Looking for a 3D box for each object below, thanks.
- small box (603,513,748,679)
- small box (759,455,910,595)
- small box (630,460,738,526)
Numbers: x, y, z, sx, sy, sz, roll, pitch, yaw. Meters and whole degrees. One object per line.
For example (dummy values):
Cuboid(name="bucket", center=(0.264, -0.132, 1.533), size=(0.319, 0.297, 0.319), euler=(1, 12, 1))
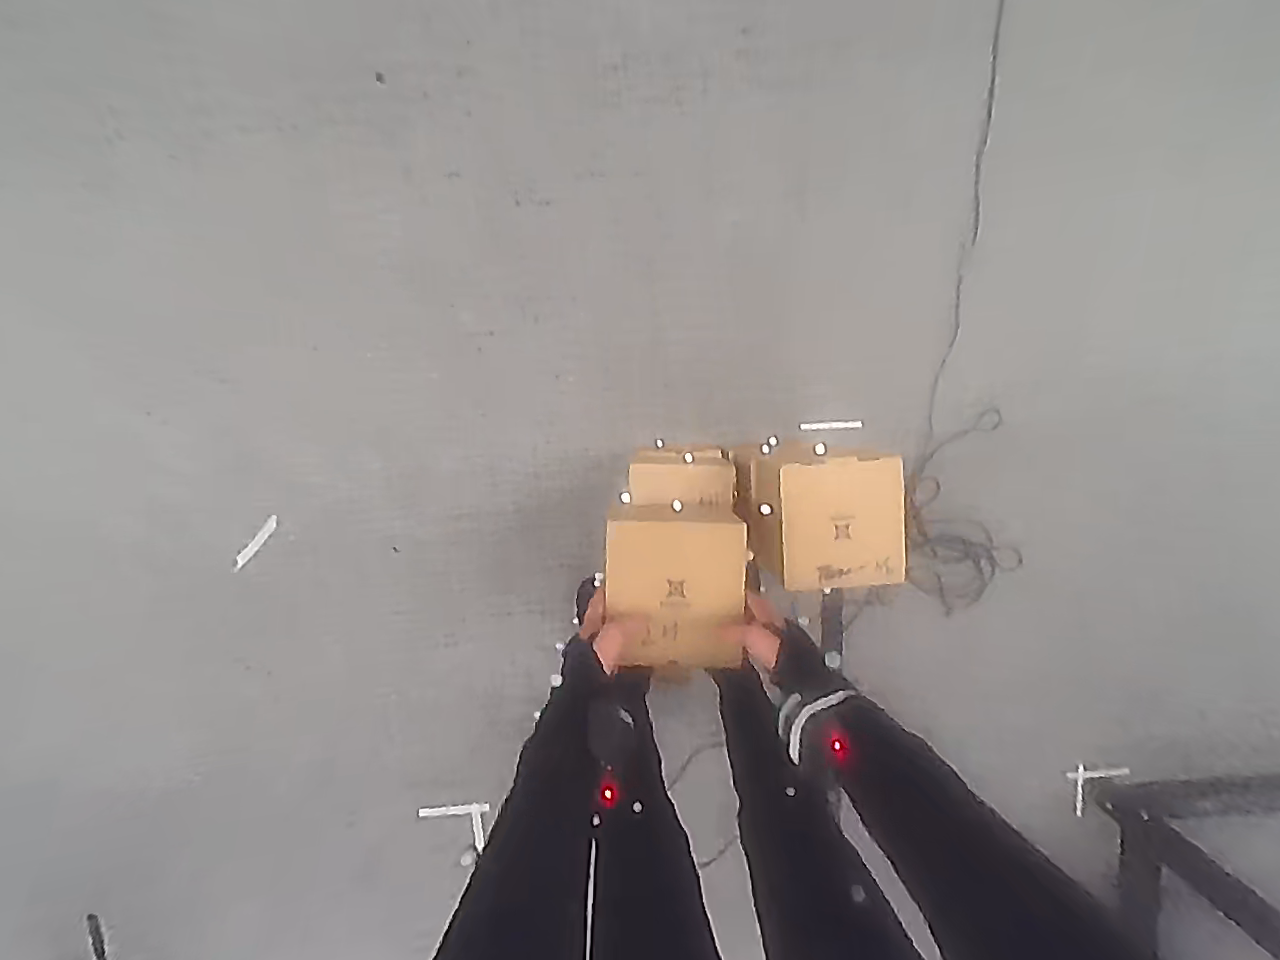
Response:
Cuboid(name="small box", center=(0.040, 0.138, 0.701), size=(0.168, 0.176, 0.179), euler=(1, 95, 1))
Cuboid(name="small box", center=(0.273, 0.055, 0.792), size=(0.168, 0.176, 0.179), euler=(-5, 96, 3))
Cuboid(name="small box", center=(0.071, 0.053, 0.962), size=(0.179, 0.176, 0.168), euler=(0, 97, 2))
